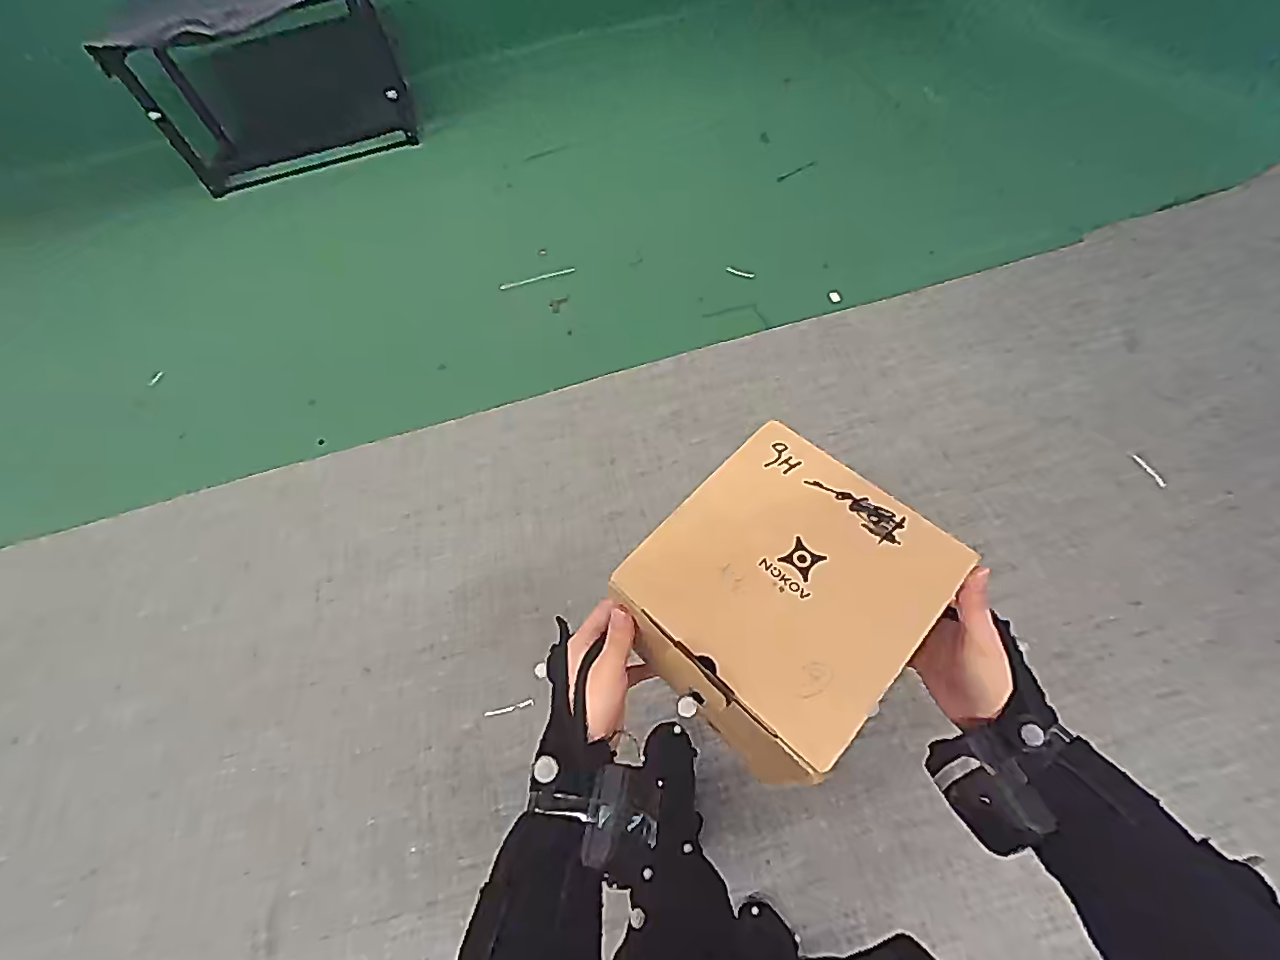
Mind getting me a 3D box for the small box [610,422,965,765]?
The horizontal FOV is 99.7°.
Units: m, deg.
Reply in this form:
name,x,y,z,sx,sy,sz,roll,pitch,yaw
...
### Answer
name,x,y,z,sx,sy,sz,roll,pitch,yaw
small box,0.101,0.096,0.424,0.168,0.176,0.179,40,70,22
